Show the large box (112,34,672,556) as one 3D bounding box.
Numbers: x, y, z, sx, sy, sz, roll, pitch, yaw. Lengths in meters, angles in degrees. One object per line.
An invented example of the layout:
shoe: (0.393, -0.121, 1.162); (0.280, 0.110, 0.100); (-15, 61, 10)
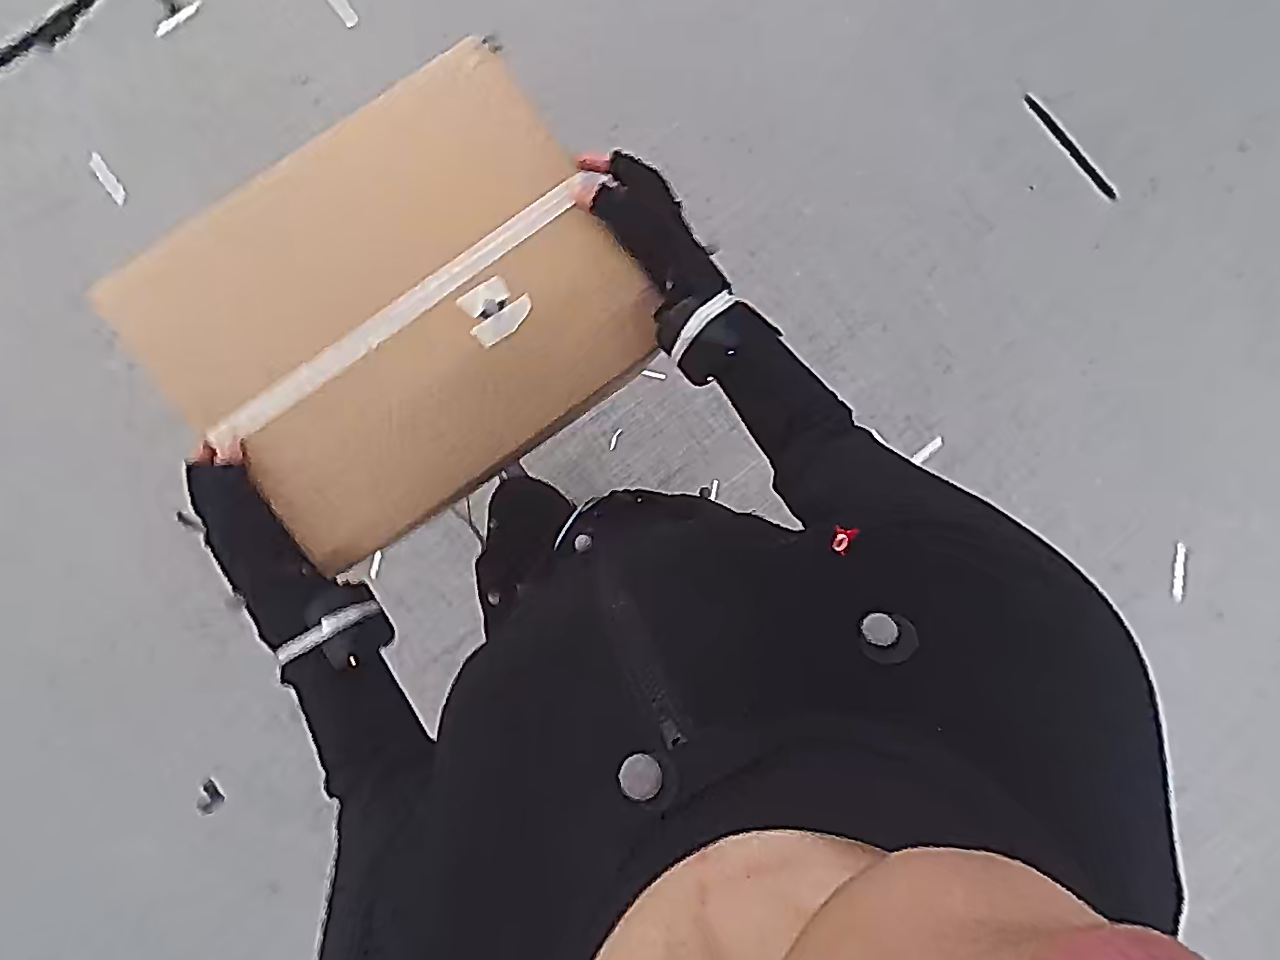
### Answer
large box: (-0.231, -0.174, 0.640); (0.408, 0.320, 0.320); (-36, 99, -4)
